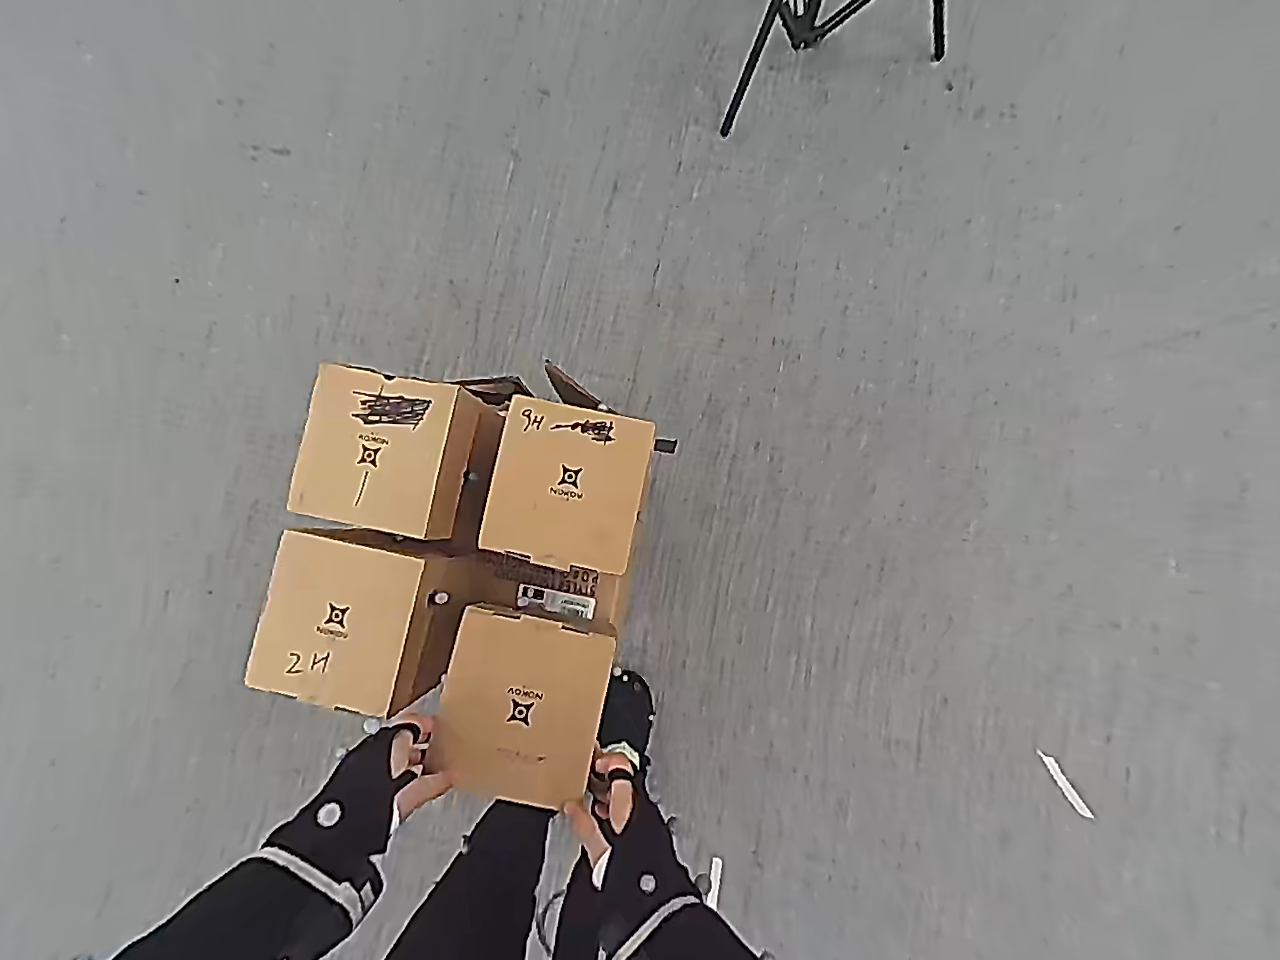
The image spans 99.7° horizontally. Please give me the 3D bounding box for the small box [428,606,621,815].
[{"bbox_3d":[-0.121,0.249,0.632,0.168,0.176,0.179,11,80,-1],"label":"small box"}]
